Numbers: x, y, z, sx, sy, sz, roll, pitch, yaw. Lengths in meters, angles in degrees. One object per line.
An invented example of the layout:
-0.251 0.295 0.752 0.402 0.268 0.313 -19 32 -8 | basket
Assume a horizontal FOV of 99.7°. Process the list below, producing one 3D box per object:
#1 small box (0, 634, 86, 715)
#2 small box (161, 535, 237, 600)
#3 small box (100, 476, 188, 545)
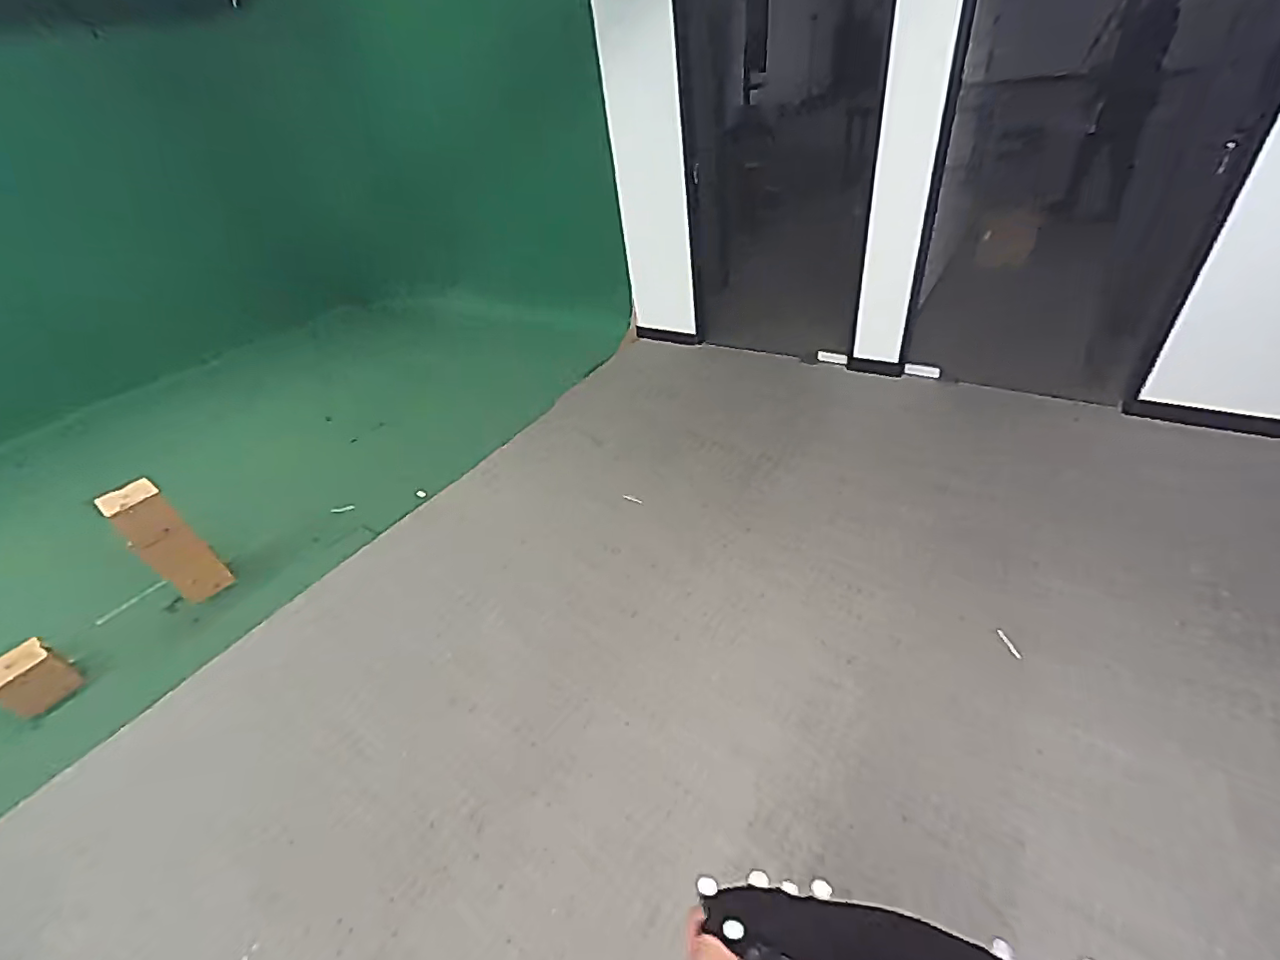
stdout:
-2.106 0.678 1.877 0.168 0.176 0.179 18 45 29 | small box
-1.805 0.365 2.220 0.179 0.176 0.168 25 49 36 | small box
-1.839 0.115 2.008 0.179 0.176 0.168 21 46 33 | small box
